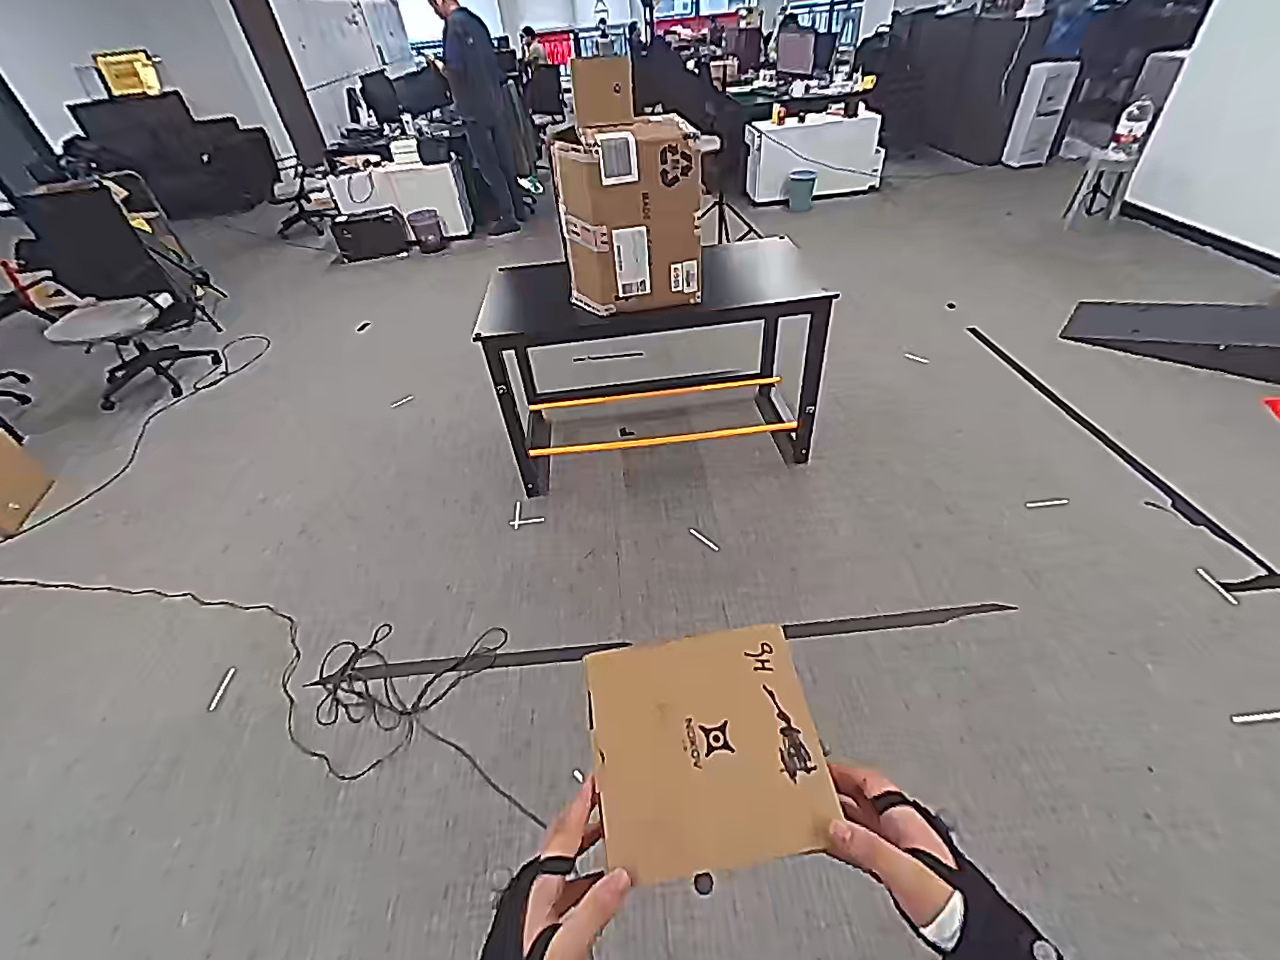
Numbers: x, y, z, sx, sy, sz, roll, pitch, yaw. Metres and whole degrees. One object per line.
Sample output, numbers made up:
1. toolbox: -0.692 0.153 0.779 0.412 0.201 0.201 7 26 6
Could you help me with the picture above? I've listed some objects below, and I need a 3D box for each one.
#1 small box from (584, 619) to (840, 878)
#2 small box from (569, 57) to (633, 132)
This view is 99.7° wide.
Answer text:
1. small box: 0.051 0.248 0.492 0.179 0.176 0.168 -8 53 -4
2. small box: -0.118 -1.179 1.651 0.179 0.176 0.168 -8 38 -4
